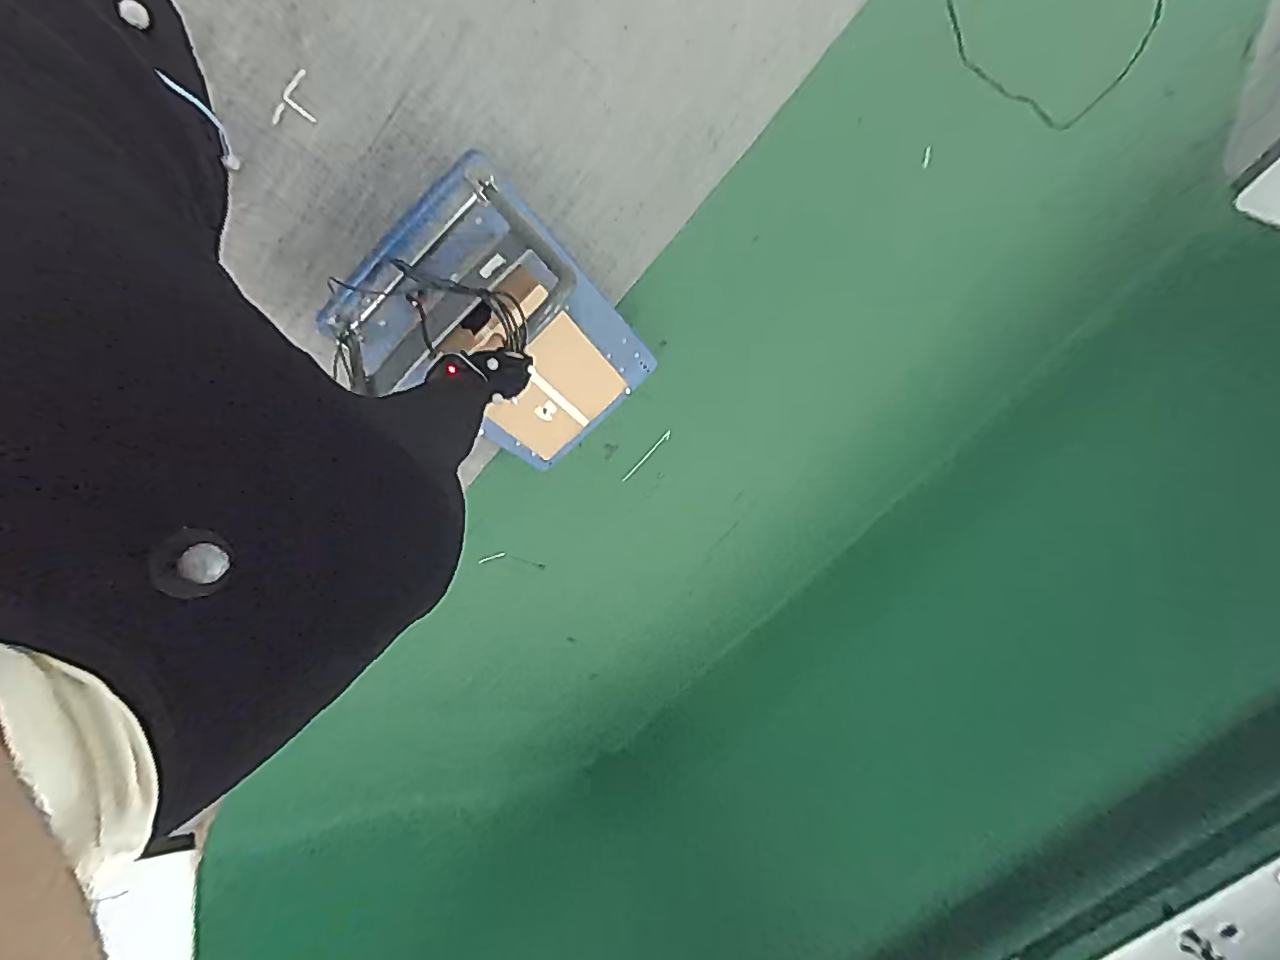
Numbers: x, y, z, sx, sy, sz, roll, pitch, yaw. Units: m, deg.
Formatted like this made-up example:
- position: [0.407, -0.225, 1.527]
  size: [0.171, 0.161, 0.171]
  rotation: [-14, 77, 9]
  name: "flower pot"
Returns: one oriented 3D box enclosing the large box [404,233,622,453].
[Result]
- position: [-0.324, -0.344, 1.410]
  size: [0.320, 0.320, 0.408]
  rotation: [-40, 143, 6]
  name: "large box"
